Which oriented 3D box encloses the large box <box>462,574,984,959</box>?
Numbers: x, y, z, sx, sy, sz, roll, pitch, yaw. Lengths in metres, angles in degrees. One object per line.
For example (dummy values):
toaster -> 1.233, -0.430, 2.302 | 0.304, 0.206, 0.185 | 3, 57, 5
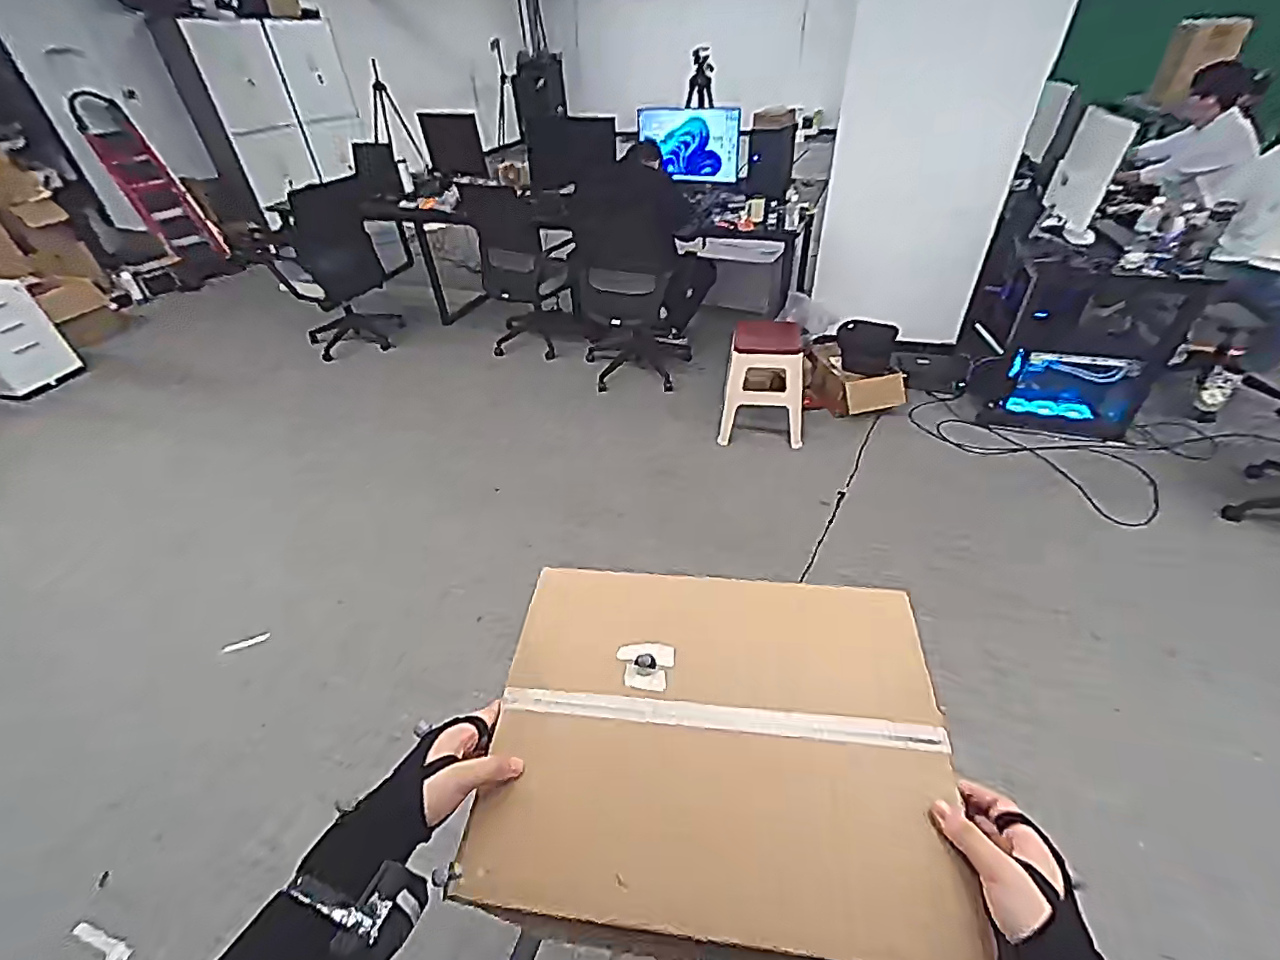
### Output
large box -> 0.082, 0.324, 0.618 | 0.408, 0.320, 0.320 | 0, 45, 9
